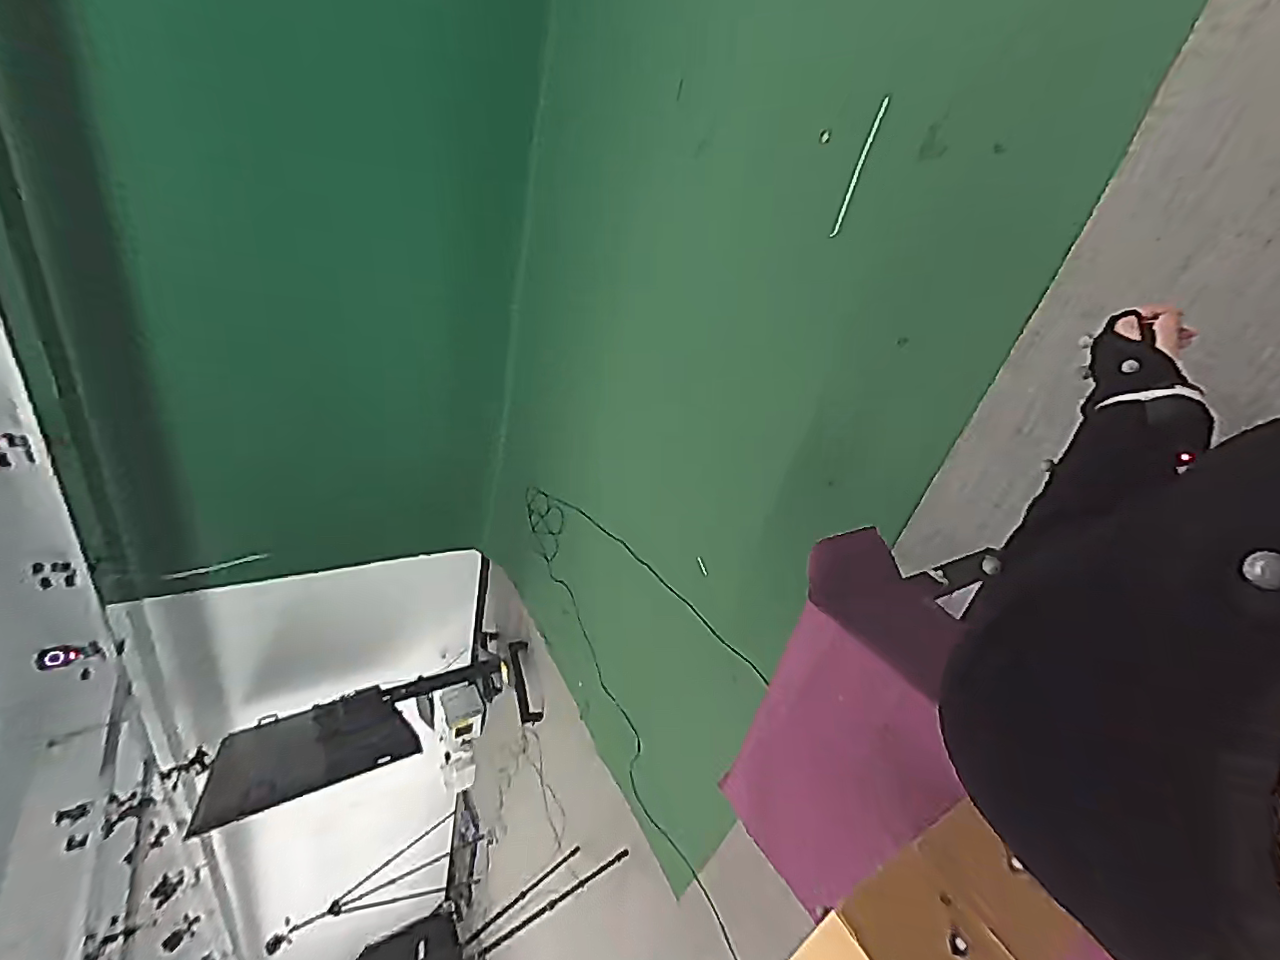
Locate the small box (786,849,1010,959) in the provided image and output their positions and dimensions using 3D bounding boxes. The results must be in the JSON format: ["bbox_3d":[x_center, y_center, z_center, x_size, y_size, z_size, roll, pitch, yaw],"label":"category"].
[{"bbox_3d":[0.313,0.603,0.658,0.168,0.176,0.179,45,130,43],"label":"small box"}]

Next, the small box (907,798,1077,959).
[{"bbox_3d":[0.449,0.589,0.746,0.168,0.176,0.179,45,130,42],"label":"small box"}]
